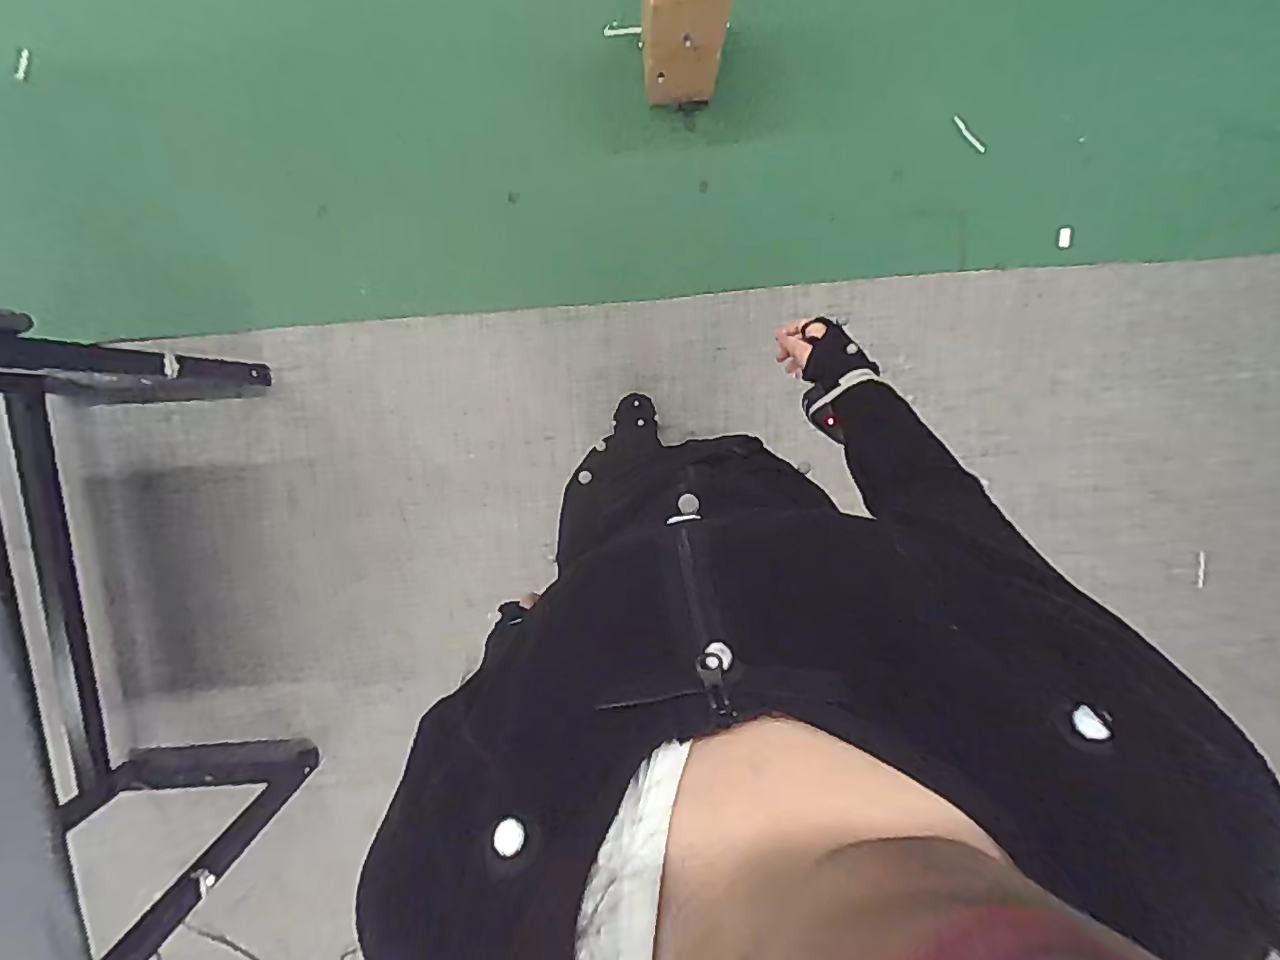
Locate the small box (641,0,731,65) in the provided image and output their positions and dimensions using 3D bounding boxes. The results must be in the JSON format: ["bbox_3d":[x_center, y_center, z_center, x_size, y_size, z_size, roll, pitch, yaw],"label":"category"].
[{"bbox_3d":[0.089,-1.022,1.130,0.168,0.176,0.179,-7,96,1],"label":"small box"}]

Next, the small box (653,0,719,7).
[{"bbox_3d":[0.091,-1.000,0.969,0.168,0.176,0.179,-10,96,1],"label":"small box"}]
